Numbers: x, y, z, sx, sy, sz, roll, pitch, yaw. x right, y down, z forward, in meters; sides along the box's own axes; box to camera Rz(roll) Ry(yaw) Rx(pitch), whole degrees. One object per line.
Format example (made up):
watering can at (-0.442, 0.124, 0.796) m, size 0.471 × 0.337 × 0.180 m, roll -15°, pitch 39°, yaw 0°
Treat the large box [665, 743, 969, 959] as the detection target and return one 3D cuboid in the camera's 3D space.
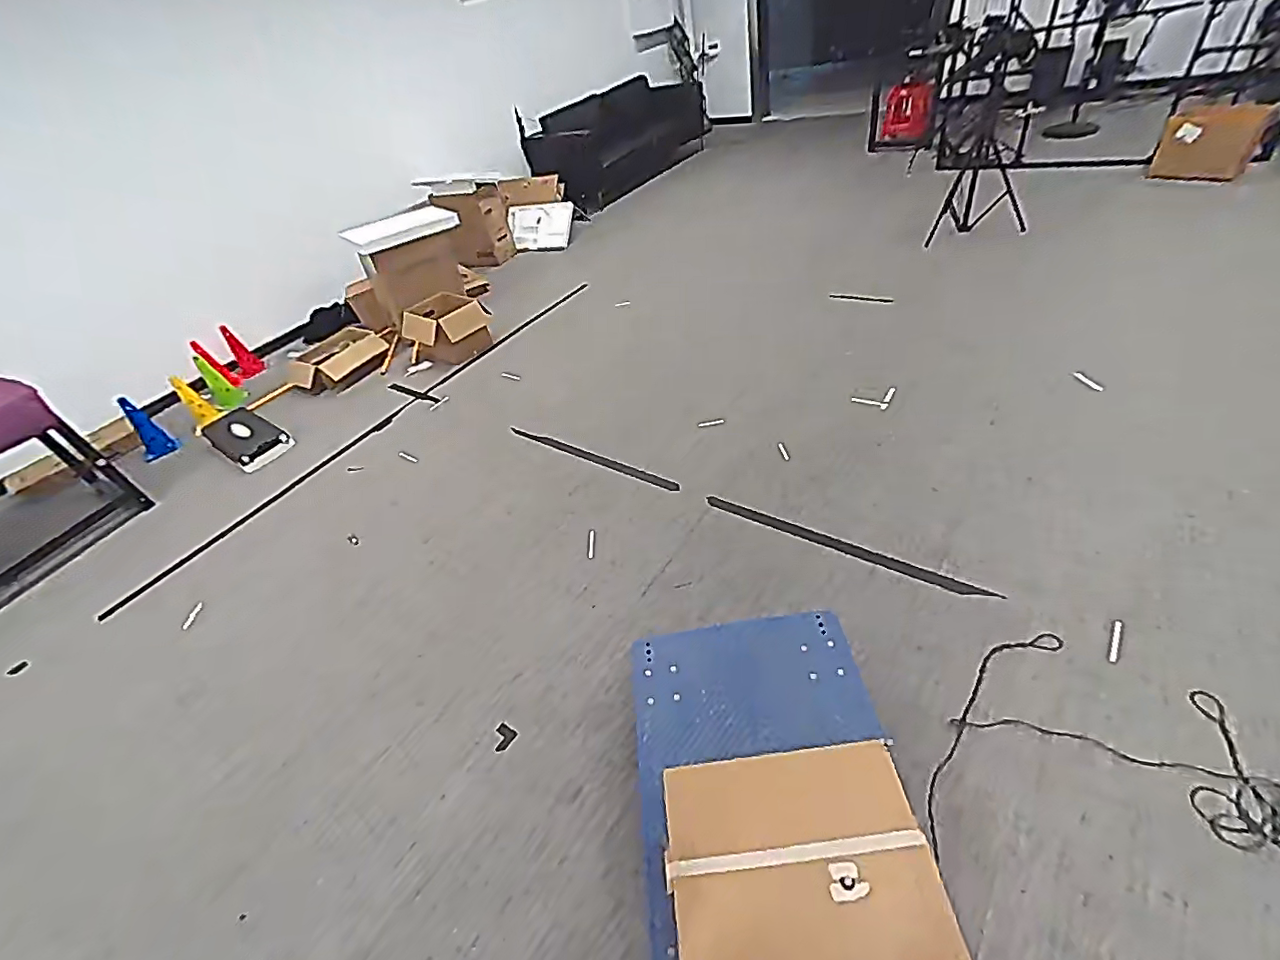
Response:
large box at (0.274, 0.717, 0.964) m, size 0.408 × 0.320 × 0.320 m, roll -9°, pitch 42°, yaw 3°
